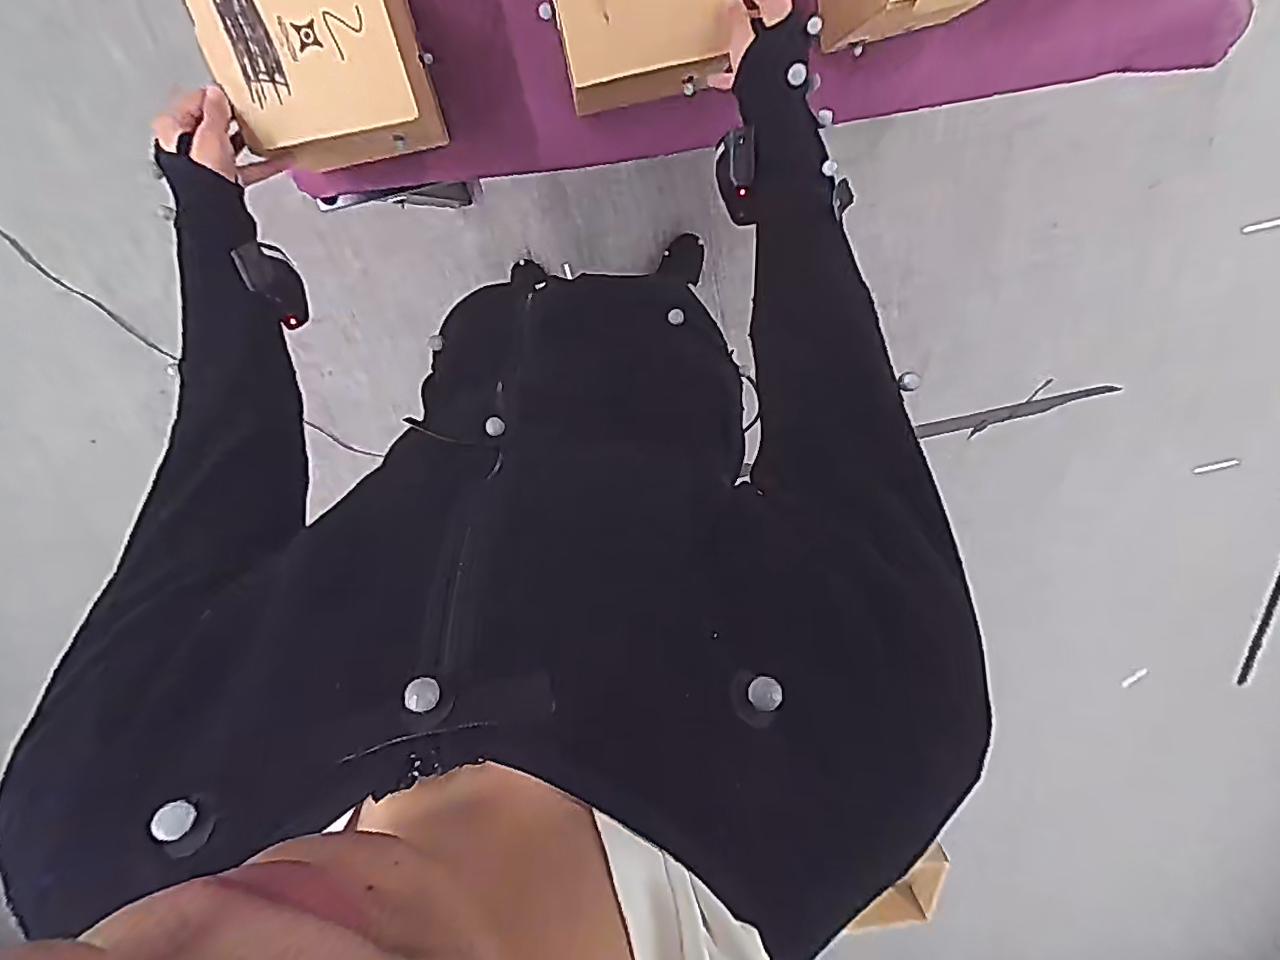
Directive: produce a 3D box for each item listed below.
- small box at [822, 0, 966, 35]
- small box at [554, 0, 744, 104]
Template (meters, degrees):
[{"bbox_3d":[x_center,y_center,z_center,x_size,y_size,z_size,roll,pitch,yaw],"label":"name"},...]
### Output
[{"bbox_3d":[0.296,-0.604,0.566,0.168,0.176,0.179,-14,115,1],"label":"small box"},{"bbox_3d":[-0.003,-0.526,0.575,0.179,0.176,0.168,-13,116,0],"label":"small box"}]
